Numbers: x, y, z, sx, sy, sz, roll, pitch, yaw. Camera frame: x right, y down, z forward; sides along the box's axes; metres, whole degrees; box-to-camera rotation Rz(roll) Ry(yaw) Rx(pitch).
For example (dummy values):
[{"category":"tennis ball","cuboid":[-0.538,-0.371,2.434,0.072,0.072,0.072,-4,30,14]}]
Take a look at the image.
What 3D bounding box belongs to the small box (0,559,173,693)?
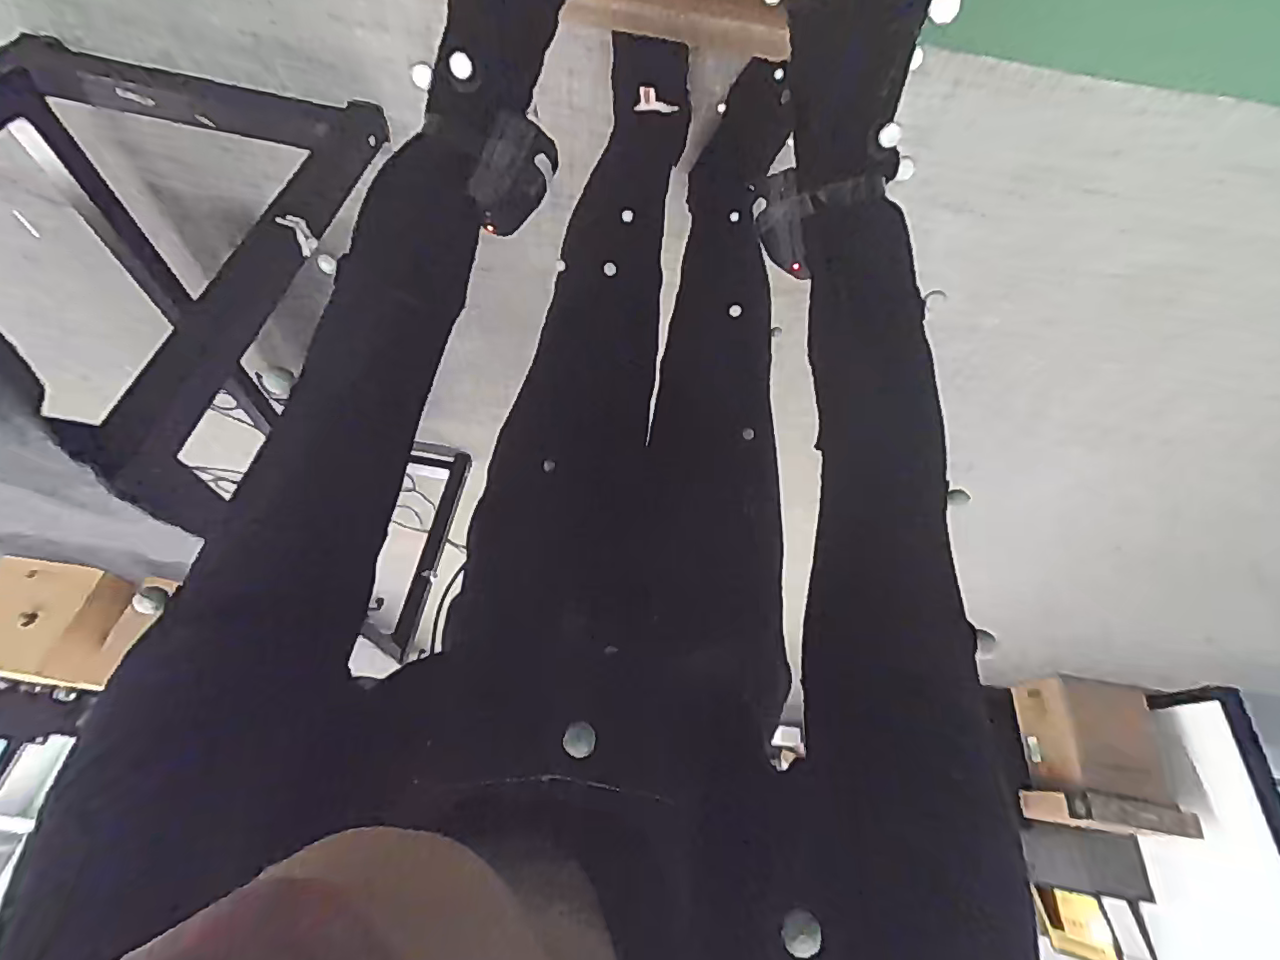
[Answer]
[{"category":"small box","cuboid":[-0.934,0.238,0.881,0.168,0.176,0.179,8,151,0]}]
